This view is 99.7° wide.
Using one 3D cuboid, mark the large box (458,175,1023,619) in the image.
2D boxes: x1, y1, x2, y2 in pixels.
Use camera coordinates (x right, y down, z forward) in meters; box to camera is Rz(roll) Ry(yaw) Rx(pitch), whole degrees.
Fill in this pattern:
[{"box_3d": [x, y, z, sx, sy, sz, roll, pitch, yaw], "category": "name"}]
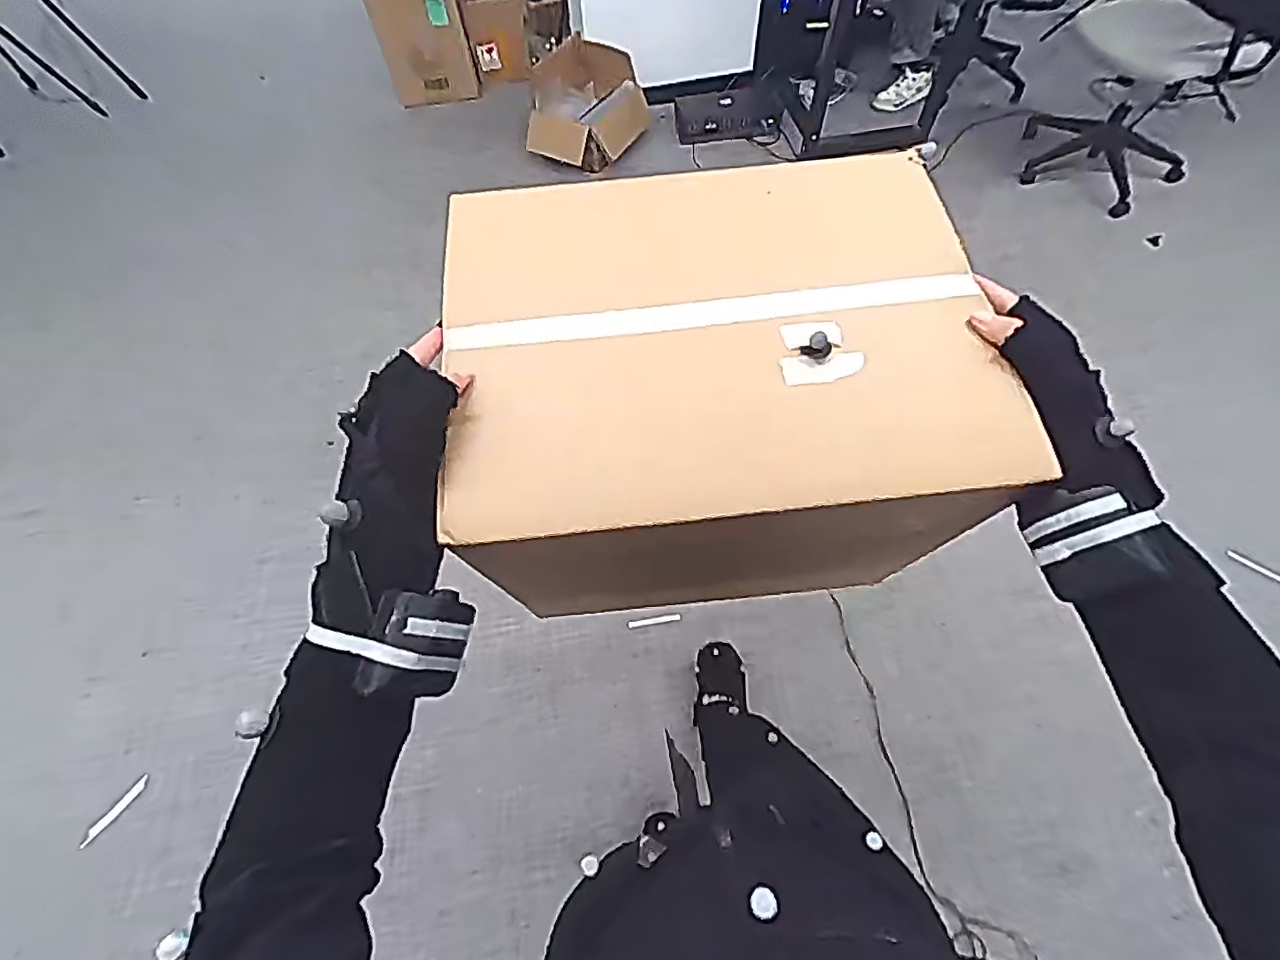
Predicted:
[{"box_3d": [0.057, -0.058, 0.565, 0.408, 0.320, 0.320, -7, 66, -1], "category": "large box"}]
